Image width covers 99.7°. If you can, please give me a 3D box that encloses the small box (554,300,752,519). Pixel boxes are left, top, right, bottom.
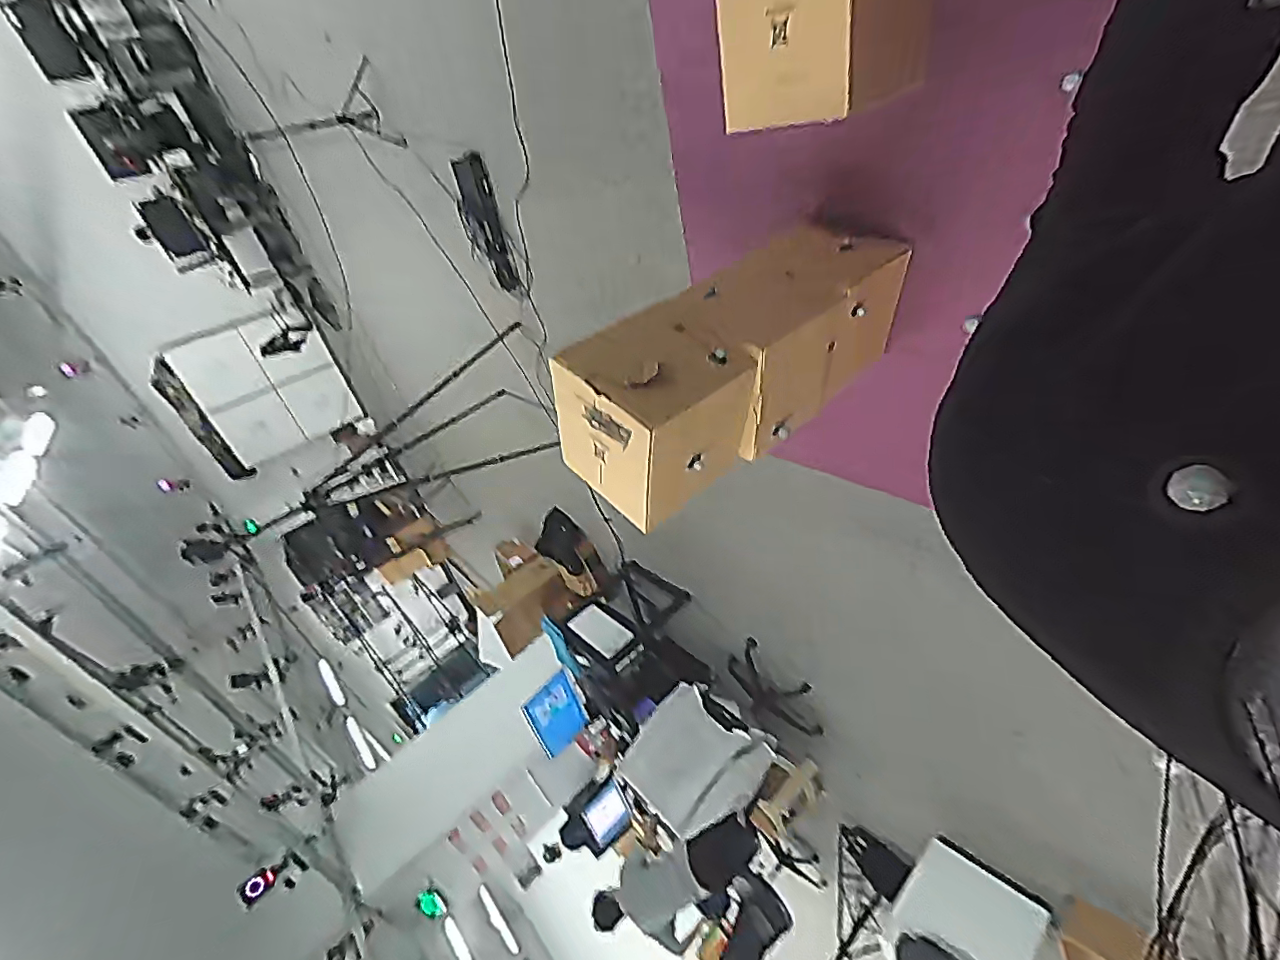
[{"bbox_3d":[0.016,-0.093,0.664,0.168,0.176,0.179,39,148,29],"label":"small box"}]

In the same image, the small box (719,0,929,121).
[{"bbox_3d":[0.207,-0.527,0.607,0.168,0.176,0.179,27,141,42],"label":"small box"}]

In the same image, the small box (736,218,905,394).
[{"bbox_3d":[0.262,-0.263,0.803,0.168,0.176,0.179,33,144,34],"label":"small box"}]
